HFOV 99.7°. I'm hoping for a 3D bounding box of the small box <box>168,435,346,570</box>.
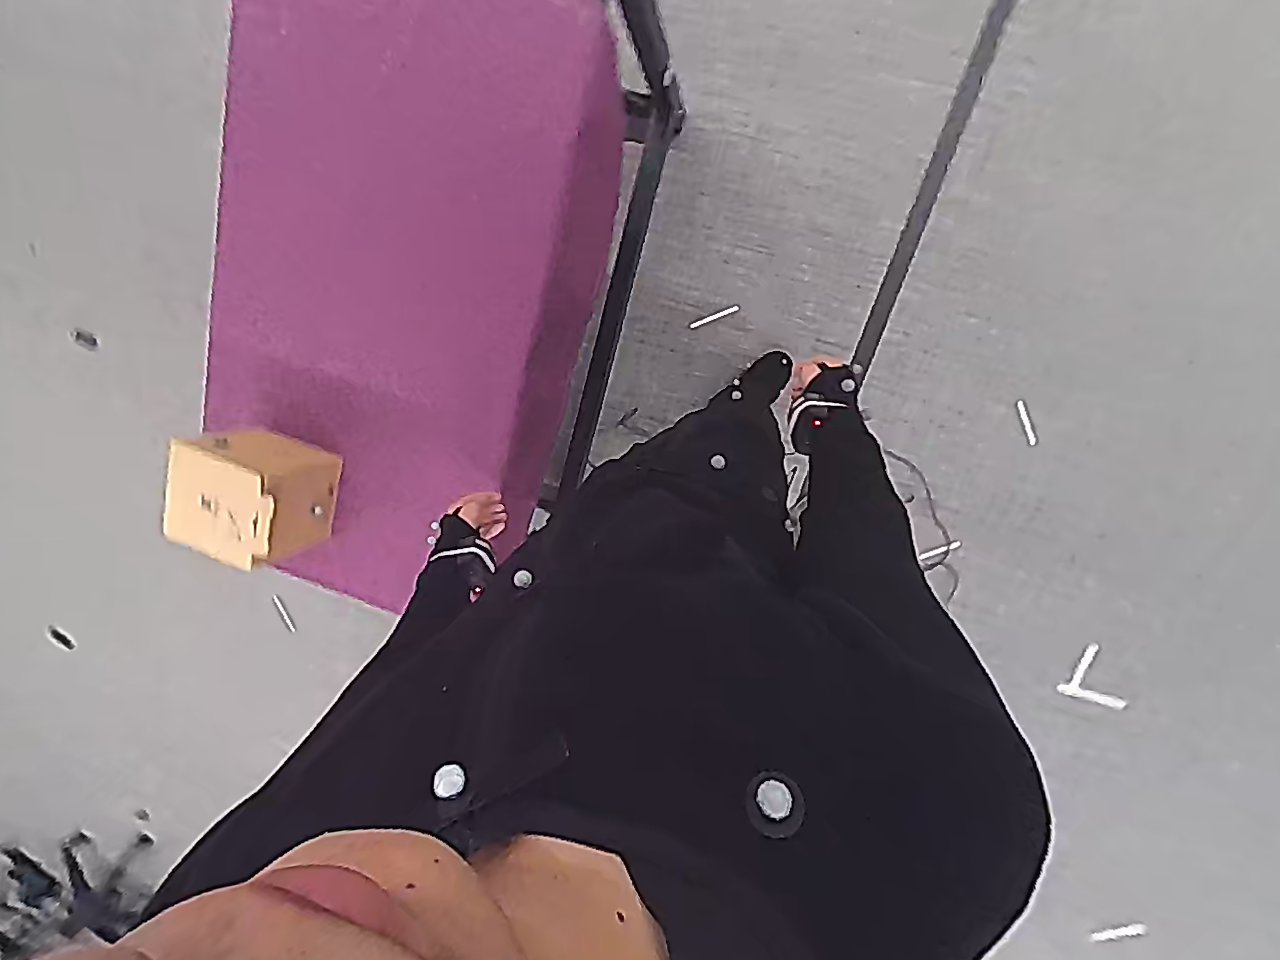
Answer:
[{"bbox_3d":[-0.649,0.027,0.927,0.179,0.176,0.168,19,105,7],"label":"small box"}]
